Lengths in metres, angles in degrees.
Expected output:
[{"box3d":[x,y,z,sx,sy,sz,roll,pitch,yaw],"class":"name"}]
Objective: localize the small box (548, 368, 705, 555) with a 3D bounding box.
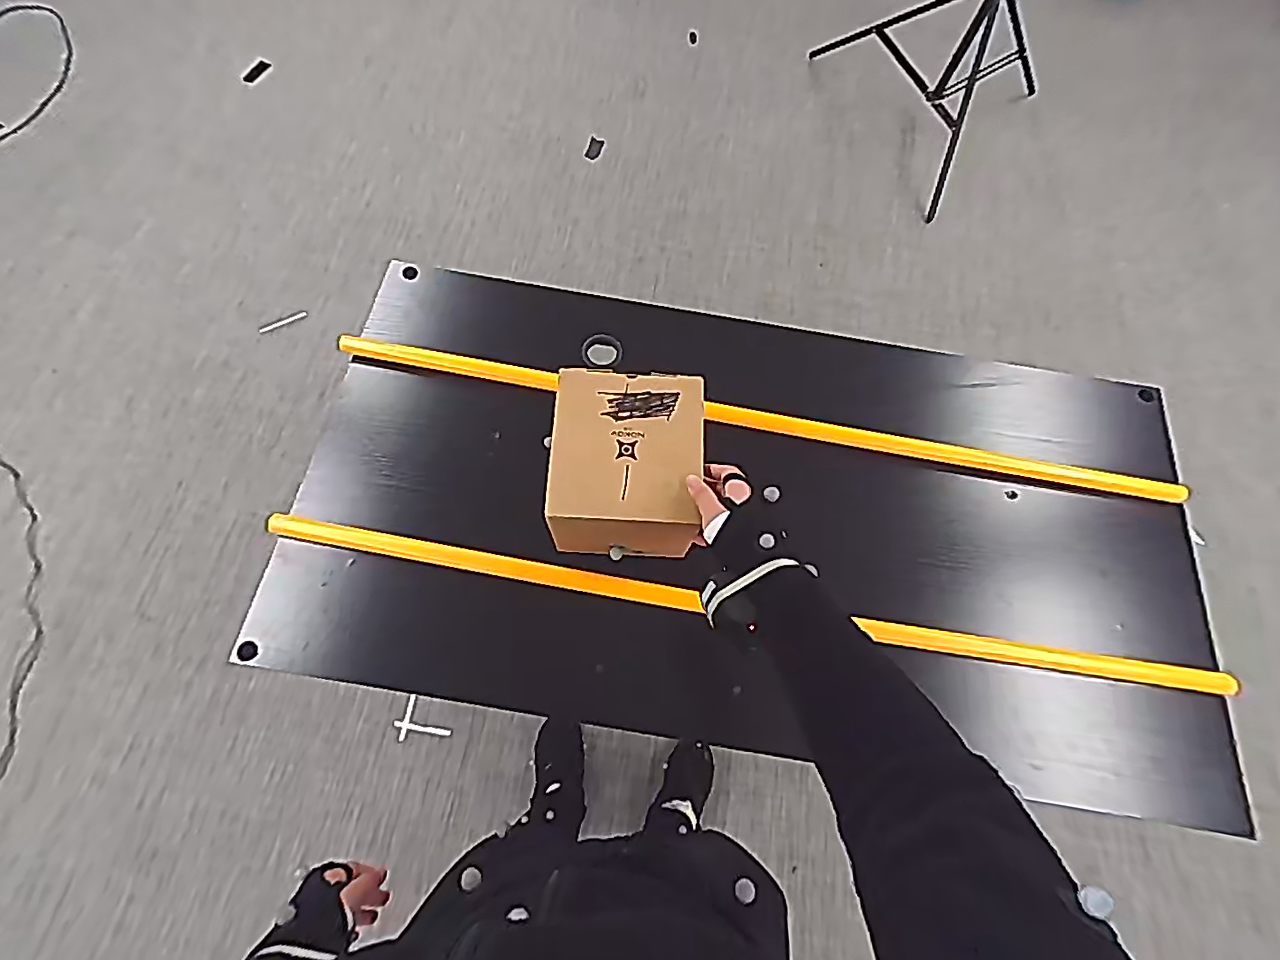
[{"box3d":[-0.015,-0.015,0.665,0.168,0.176,0.179,3,70,-2],"class":"small box"}]
